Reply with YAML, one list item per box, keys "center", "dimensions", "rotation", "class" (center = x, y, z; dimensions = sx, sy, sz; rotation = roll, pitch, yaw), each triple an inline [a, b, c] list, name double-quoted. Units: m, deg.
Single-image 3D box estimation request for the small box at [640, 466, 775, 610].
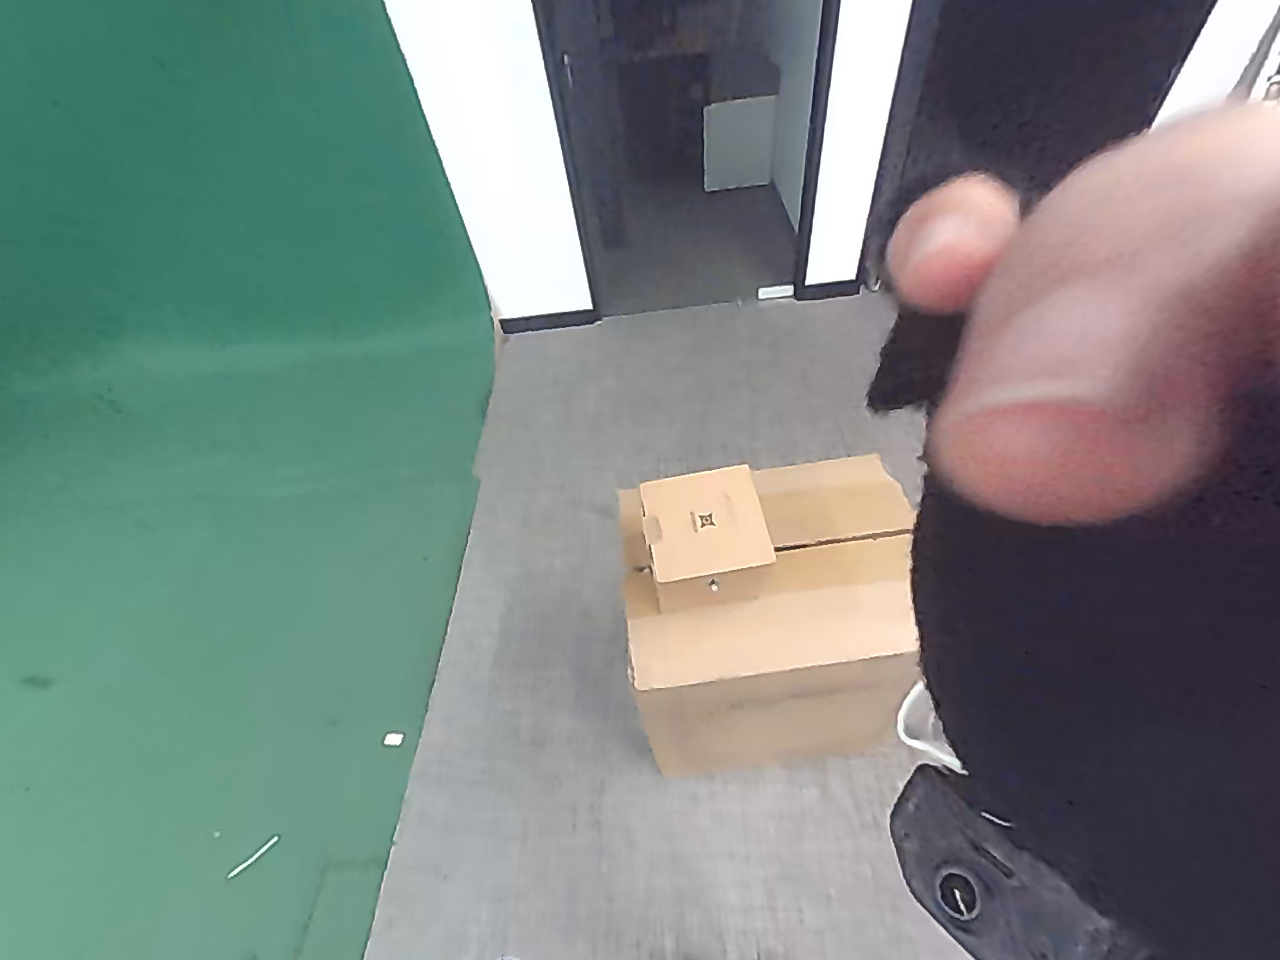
- center: [0.103, 0.100, 0.874]
  dimensions: [0.179, 0.176, 0.168]
  rotation: [-10, 61, -1]
  class: "small box"
